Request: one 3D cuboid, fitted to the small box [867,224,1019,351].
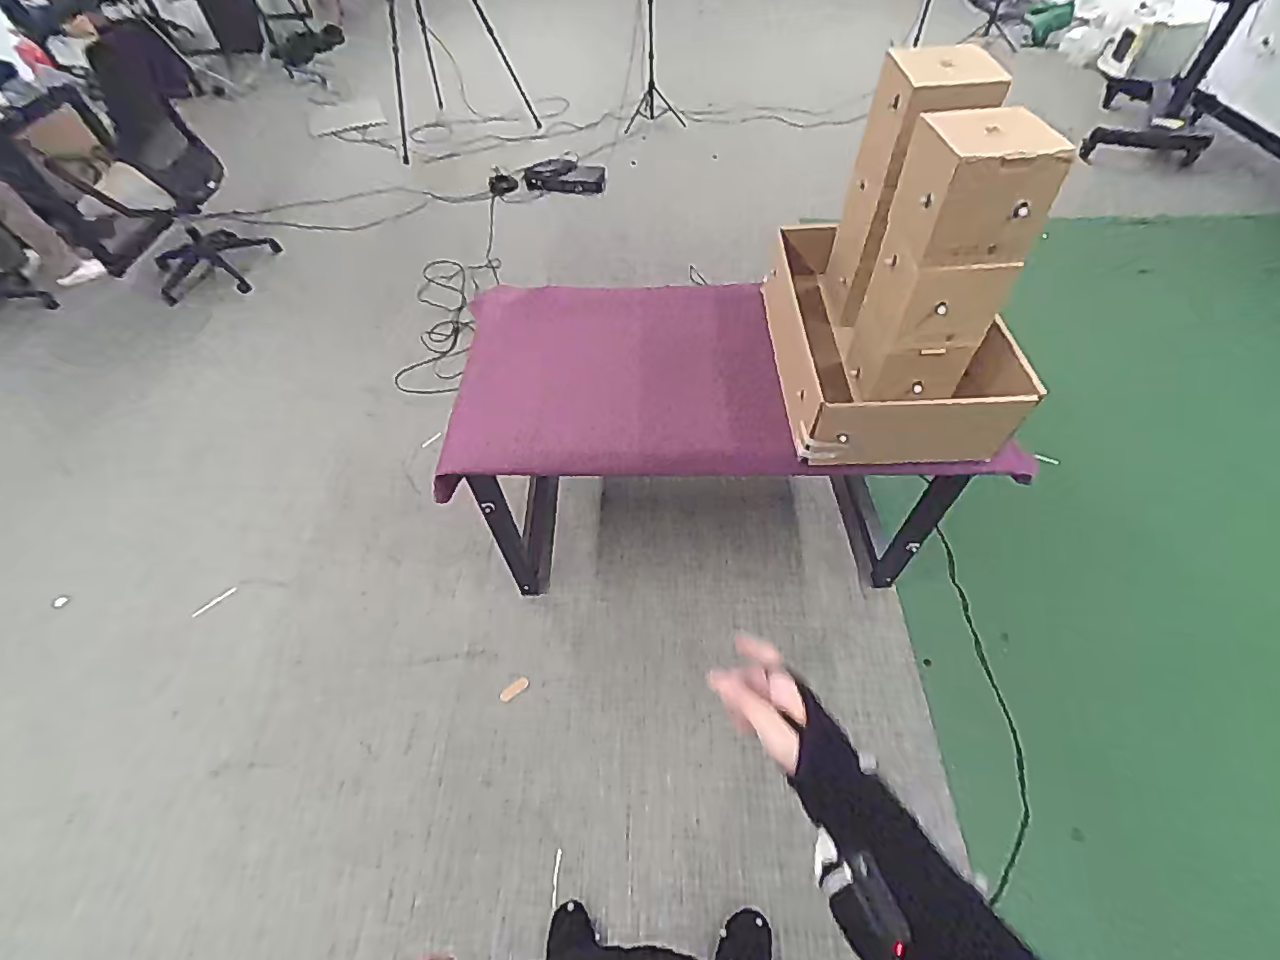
[{"bbox_3d":[0.534,-0.350,0.984,0.168,0.176,0.179,-2,51,3],"label":"small box"}]

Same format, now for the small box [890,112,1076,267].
[{"bbox_3d":[0.524,-0.454,0.859,0.168,0.176,0.179,-2,51,2],"label":"small box"}]

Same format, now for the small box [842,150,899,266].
[{"bbox_3d":[0.546,-0.579,1.150,0.168,0.176,0.179,-3,55,2],"label":"small box"}]

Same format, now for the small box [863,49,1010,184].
[{"bbox_3d":[0.540,-0.673,1.013,0.168,0.176,0.179,-1,54,2],"label":"small box"}]
